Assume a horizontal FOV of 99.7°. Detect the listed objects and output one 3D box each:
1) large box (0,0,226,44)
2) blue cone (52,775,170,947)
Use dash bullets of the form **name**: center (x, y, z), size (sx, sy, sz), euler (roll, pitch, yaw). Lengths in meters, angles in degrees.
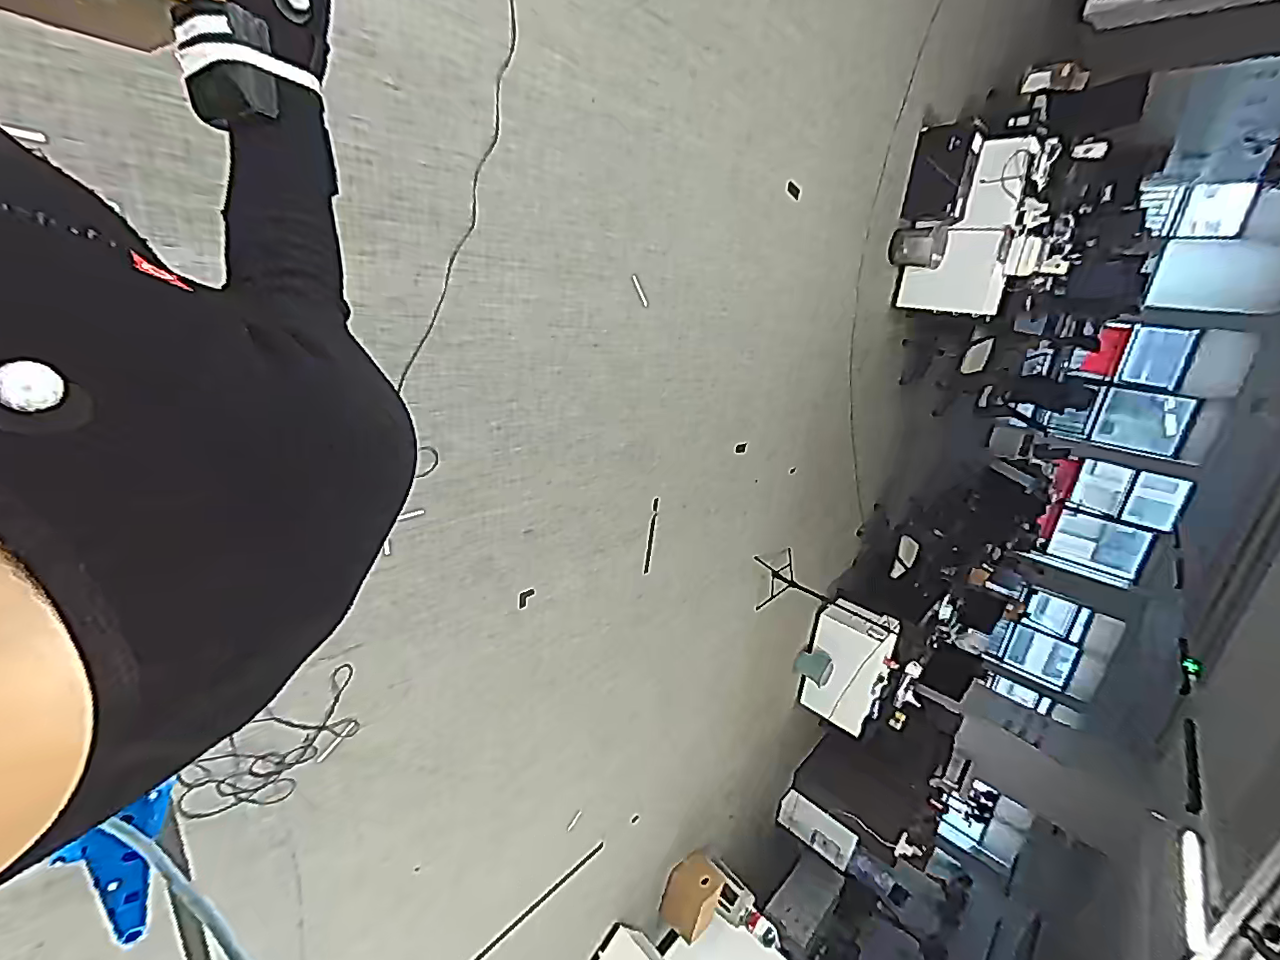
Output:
- **large box**: center (-0.512, -0.491, 0.272), size (0.408, 0.320, 0.320), euler (-16, 125, -47)
- **blue cone**: center (-1.174, 0.872, 1.222), size (0.193, 0.380, 0.192), euler (17, 95, -50)
